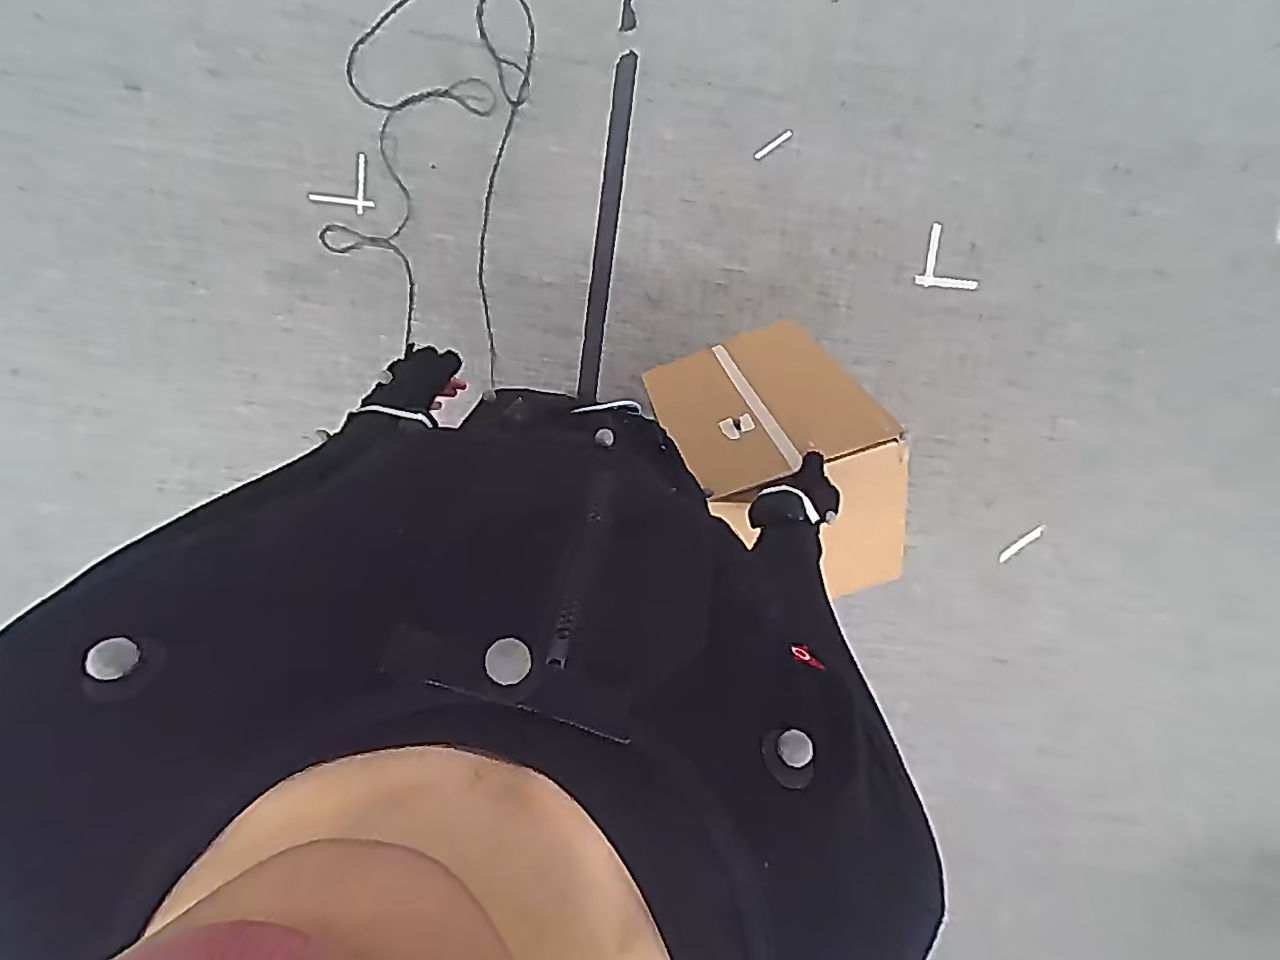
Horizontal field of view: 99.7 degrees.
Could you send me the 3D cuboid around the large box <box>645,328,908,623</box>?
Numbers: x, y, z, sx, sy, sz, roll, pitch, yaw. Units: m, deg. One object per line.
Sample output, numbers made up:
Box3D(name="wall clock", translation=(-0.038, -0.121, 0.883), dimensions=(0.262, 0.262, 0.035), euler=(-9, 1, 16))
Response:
Box3D(name="large box", translation=(0.227, -0.020, 0.997), dimensions=(0.320, 0.408, 0.320), euler=(-19, 130, 2))
